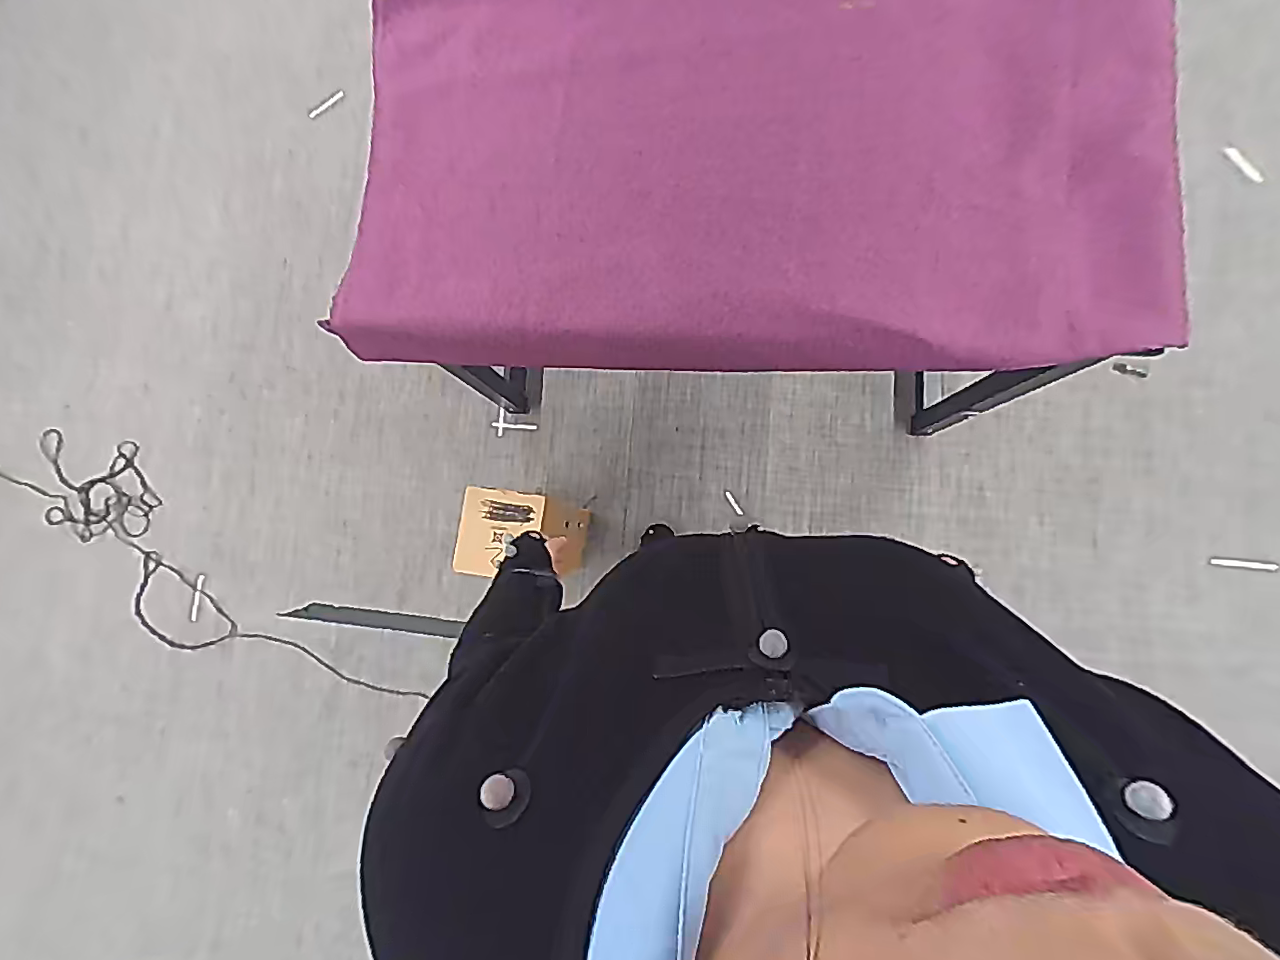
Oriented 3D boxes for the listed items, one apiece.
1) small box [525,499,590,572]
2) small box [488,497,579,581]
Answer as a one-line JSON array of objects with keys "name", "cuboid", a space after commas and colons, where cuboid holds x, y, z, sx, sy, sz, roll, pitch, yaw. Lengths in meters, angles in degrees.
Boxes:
[{"name": "small box", "cuboid": [-0.240, 0.155, 1.466, 0.168, 0.176, 0.179, 11, 85, 6]}, {"name": "small box", "cuboid": [-0.247, 0.142, 1.302, 0.168, 0.176, 0.179, 5, 85, 6]}]
